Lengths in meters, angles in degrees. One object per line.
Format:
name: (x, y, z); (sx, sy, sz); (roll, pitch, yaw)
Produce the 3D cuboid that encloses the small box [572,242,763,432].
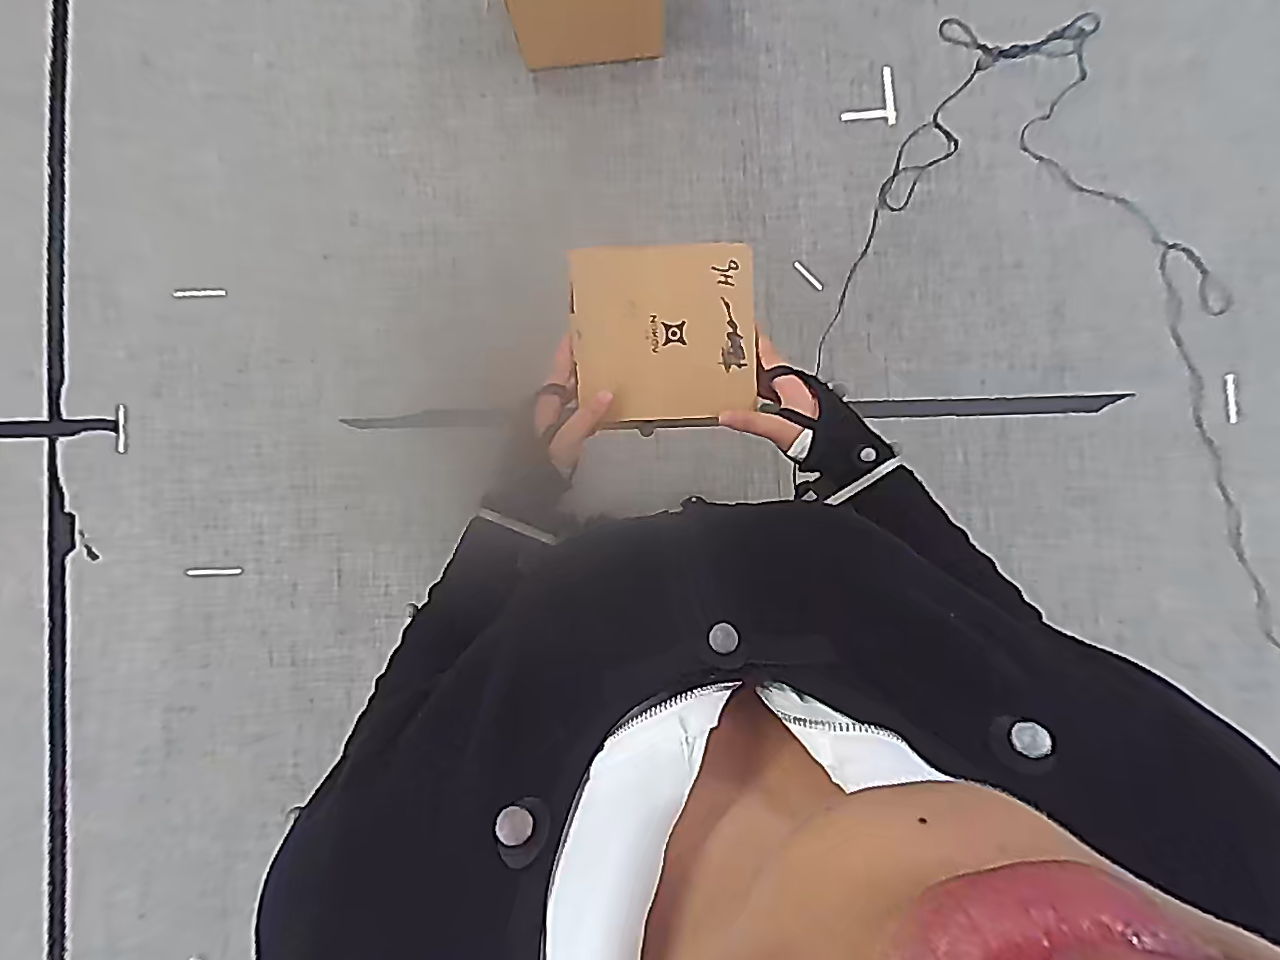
small box: (0.024, -0.140, 0.584); (0.179, 0.176, 0.168); (-2, 92, -3)
